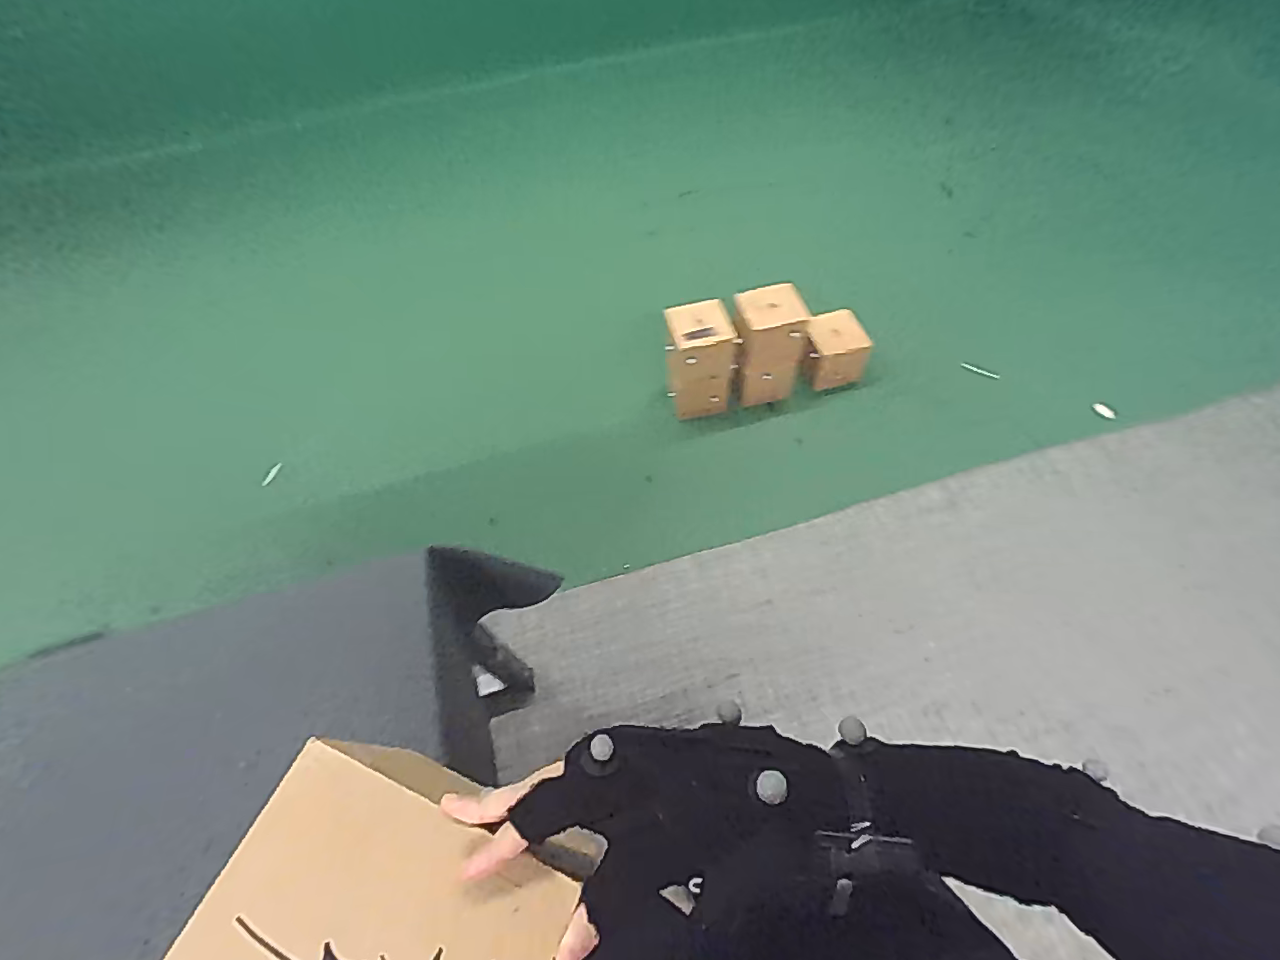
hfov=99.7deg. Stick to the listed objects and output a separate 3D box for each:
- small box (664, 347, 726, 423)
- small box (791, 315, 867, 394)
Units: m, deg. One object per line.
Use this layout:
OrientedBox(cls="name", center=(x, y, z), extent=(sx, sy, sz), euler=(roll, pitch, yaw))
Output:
OrientedBox(cls="small box", center=(0.181, -0.308, 1.793), extent=(0.168, 0.176, 0.179), euler=(-12, 58, -3))
OrientedBox(cls="small box", center=(0.631, -0.422, 1.828), extent=(0.168, 0.176, 0.179), euler=(-16, 59, -5))
